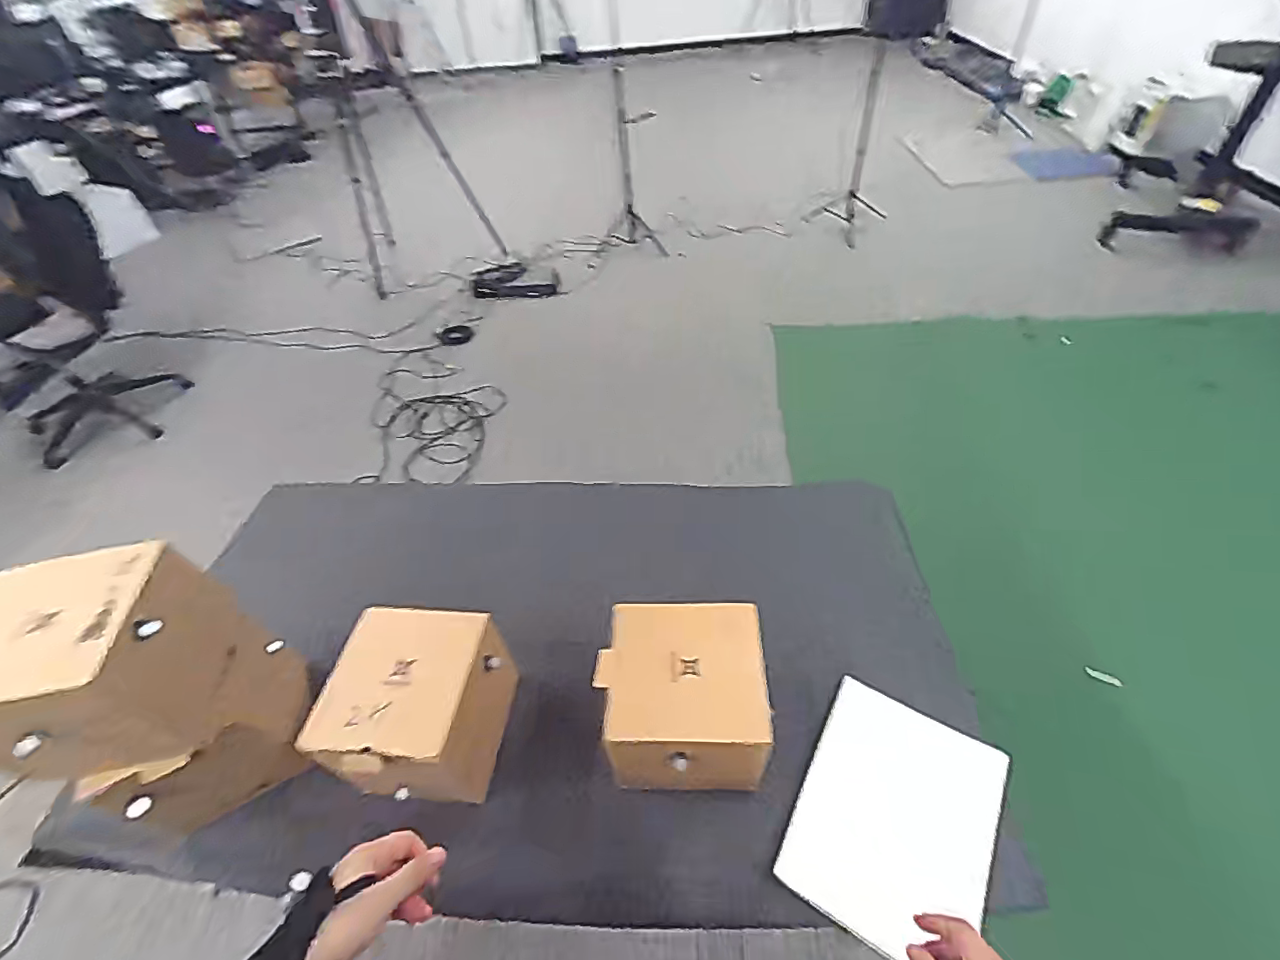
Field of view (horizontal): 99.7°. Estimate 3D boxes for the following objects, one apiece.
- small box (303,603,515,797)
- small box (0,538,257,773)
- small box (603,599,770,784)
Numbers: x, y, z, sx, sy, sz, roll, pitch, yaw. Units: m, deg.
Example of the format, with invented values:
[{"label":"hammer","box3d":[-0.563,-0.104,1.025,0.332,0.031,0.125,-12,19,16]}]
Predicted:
[{"label":"small box","box3d":[-0.272,0.279,0.691,0.168,0.176,0.179,0,46,8]},{"label":"small box","box3d":[-0.570,0.192,0.582,0.179,0.176,0.168,-12,47,-4]},{"label":"small box","box3d":[0.057,0.263,0.671,0.179,0.176,0.168,-3,46,5]}]
